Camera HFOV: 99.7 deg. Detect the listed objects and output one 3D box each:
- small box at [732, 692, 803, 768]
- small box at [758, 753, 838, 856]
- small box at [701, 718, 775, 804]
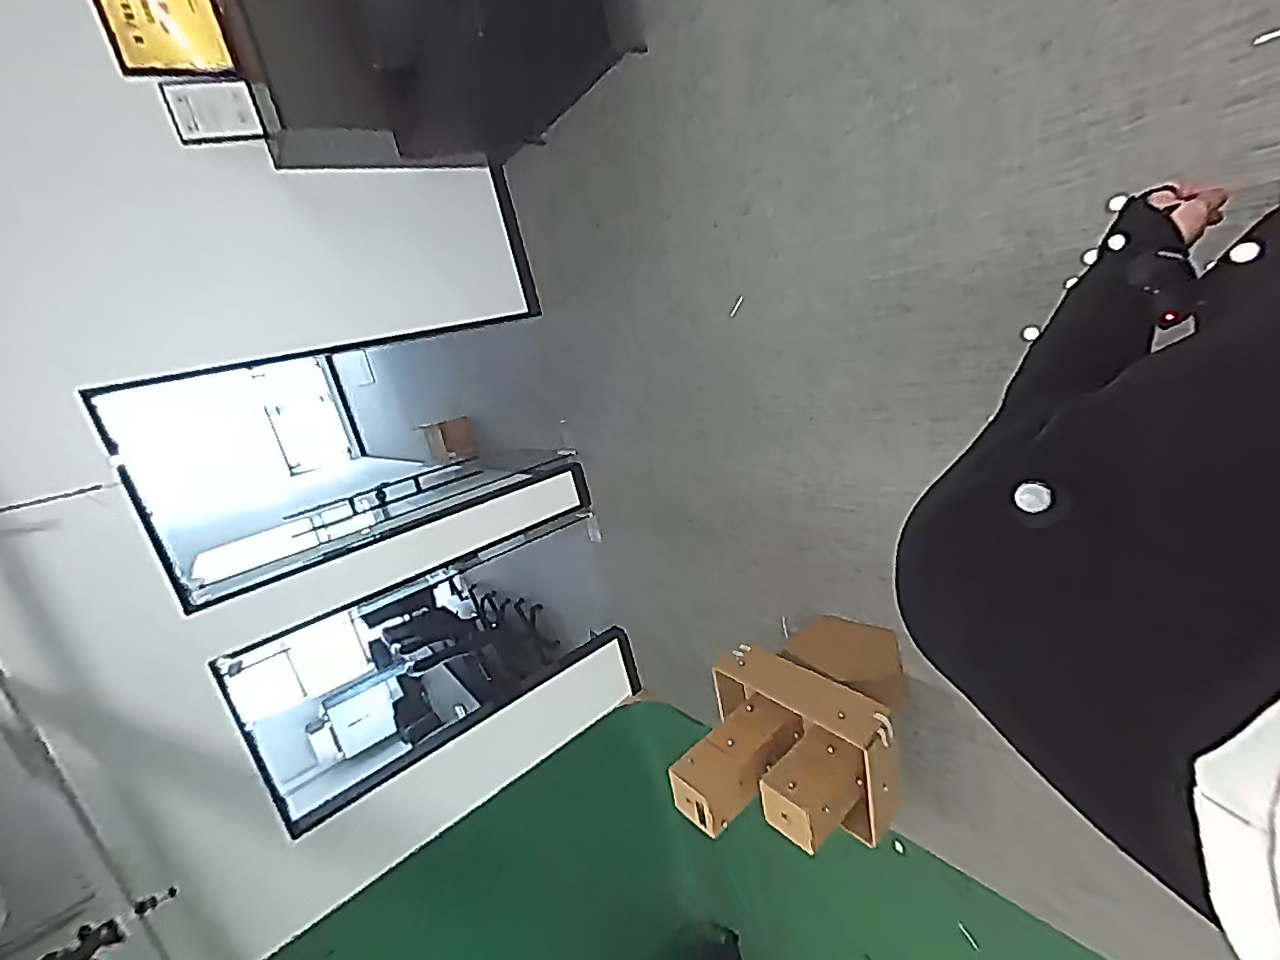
[{"bbox_3d":[0.457,0.894,1.939,0.179,0.176,0.168,10,117,51],"label":"small box"},{"bbox_3d":[0.489,0.978,1.650,0.179,0.176,0.168,11,117,52],"label":"small box"},{"bbox_3d":[0.337,0.946,1.844,0.179,0.176,0.168,8,114,50],"label":"small box"}]
